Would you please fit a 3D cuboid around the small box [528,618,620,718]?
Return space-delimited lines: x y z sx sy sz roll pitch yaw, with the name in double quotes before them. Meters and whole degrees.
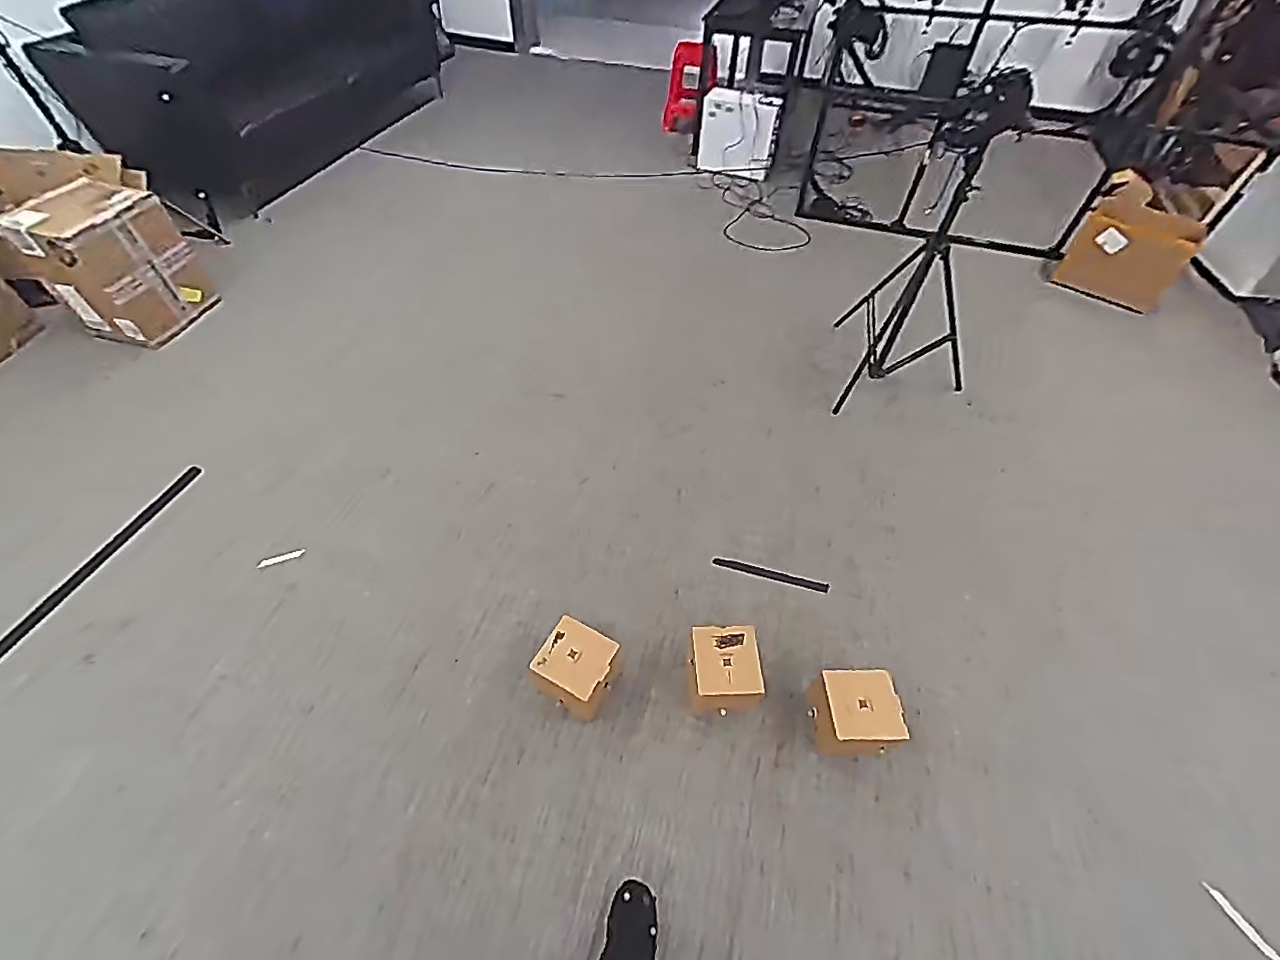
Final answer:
"small box" -0.165 0.499 1.418 0.179 0.176 0.168 24 54 17

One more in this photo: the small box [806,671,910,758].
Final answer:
"small box" 0.540 0.593 1.364 0.179 0.176 0.168 -1 50 -2

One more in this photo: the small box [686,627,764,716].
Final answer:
"small box" 0.216 0.505 1.422 0.168 0.176 0.179 -1 52 -2
